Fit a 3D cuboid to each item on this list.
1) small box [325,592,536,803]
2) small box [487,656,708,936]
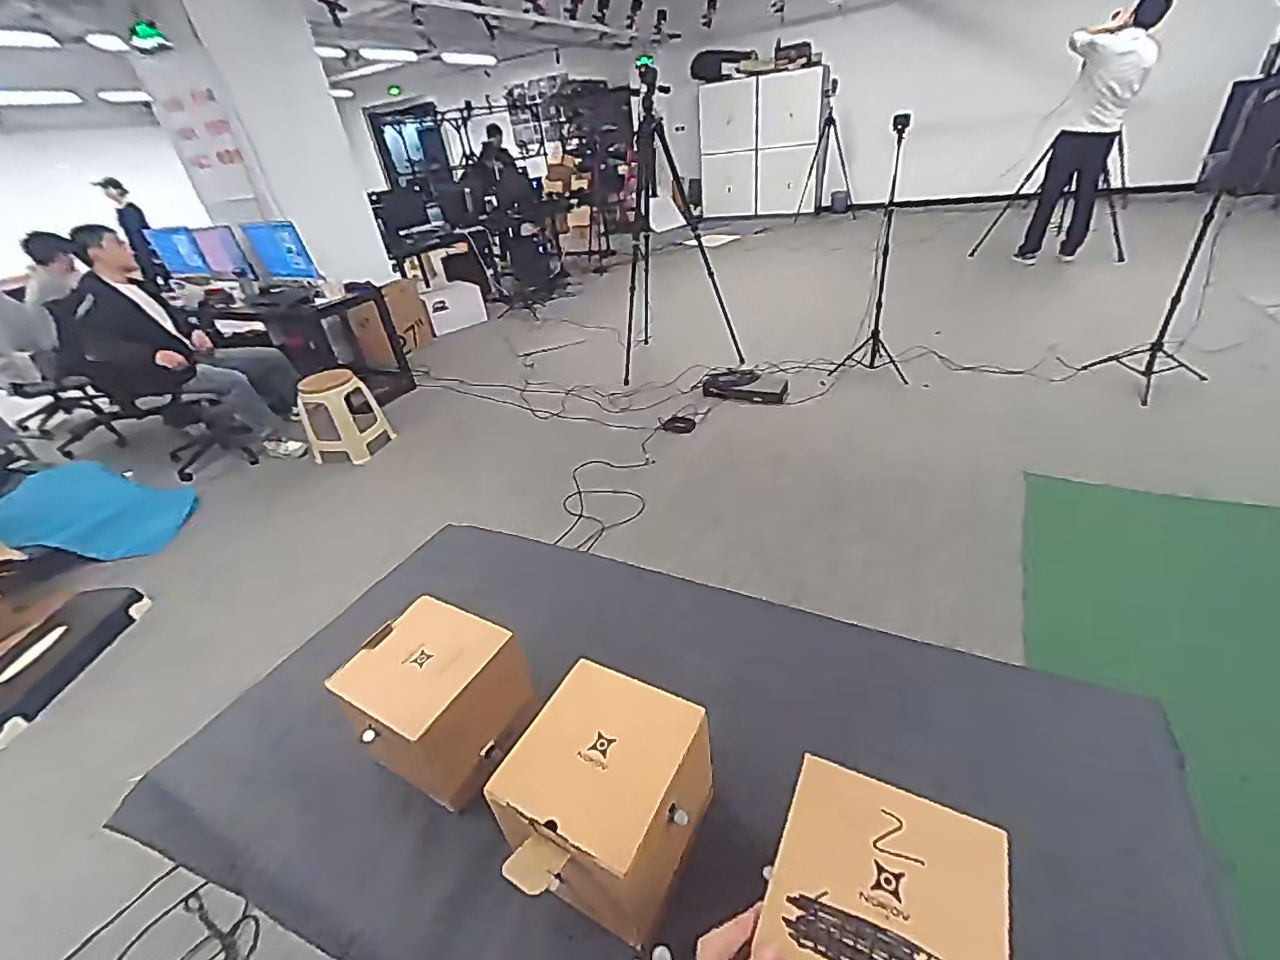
[{"bbox_3d":[-0.266,0.285,0.719,0.179,0.176,0.168,14,39,28],"label":"small box"},{"bbox_3d":[-0.033,0.336,0.593,0.168,0.176,0.179,12,38,27],"label":"small box"}]
